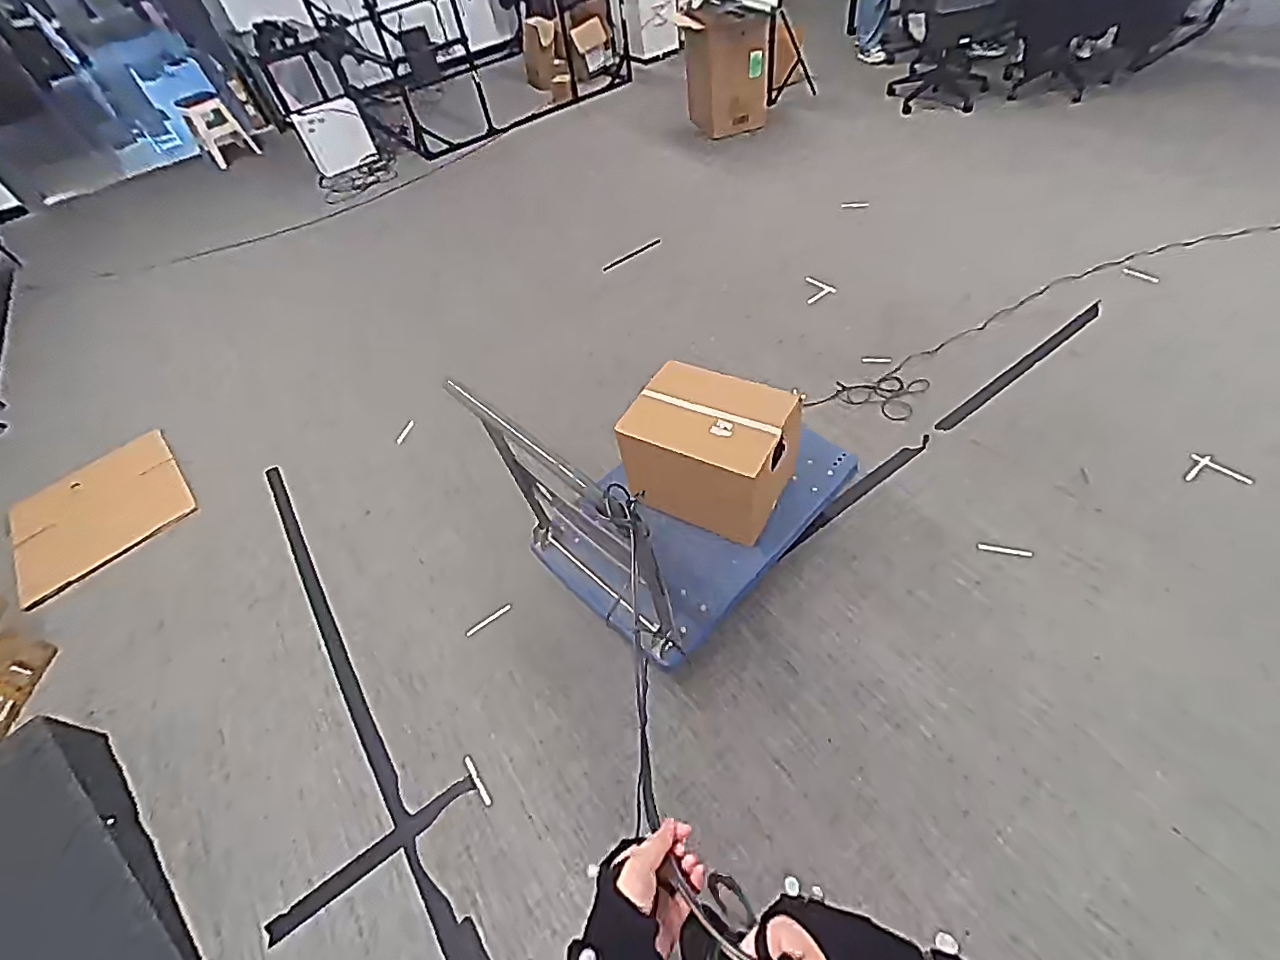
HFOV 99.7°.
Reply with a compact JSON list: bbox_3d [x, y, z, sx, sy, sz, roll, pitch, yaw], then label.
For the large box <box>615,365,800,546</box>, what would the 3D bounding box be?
[{"bbox_3d":[0.193,-0.075,1.532,0.408,0.320,0.320,21,58,24],"label":"large box"}]
